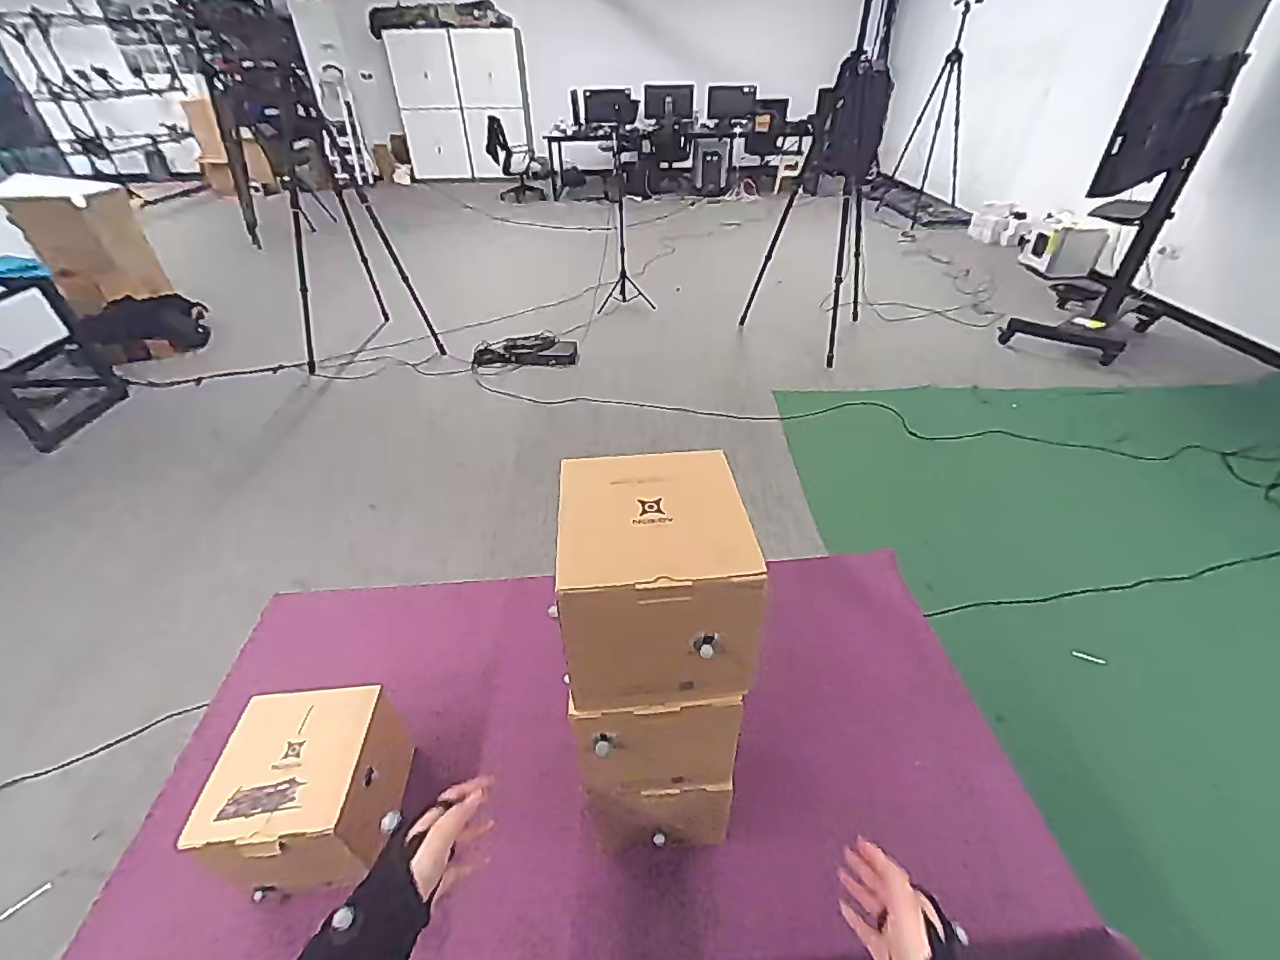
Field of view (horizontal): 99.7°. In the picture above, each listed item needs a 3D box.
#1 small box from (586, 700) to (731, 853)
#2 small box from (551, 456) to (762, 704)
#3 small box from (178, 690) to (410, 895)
[{"bbox_3d":[0.021,0.362,0.715,0.168,0.176,0.179,-2,38,0],"label":"small box"},{"bbox_3d":[0.011,0.098,0.522,0.168,0.176,0.179,-3,37,-3],"label":"small box"},{"bbox_3d":[-0.411,0.397,0.686,0.168,0.176,0.179,-4,37,-3],"label":"small box"}]
